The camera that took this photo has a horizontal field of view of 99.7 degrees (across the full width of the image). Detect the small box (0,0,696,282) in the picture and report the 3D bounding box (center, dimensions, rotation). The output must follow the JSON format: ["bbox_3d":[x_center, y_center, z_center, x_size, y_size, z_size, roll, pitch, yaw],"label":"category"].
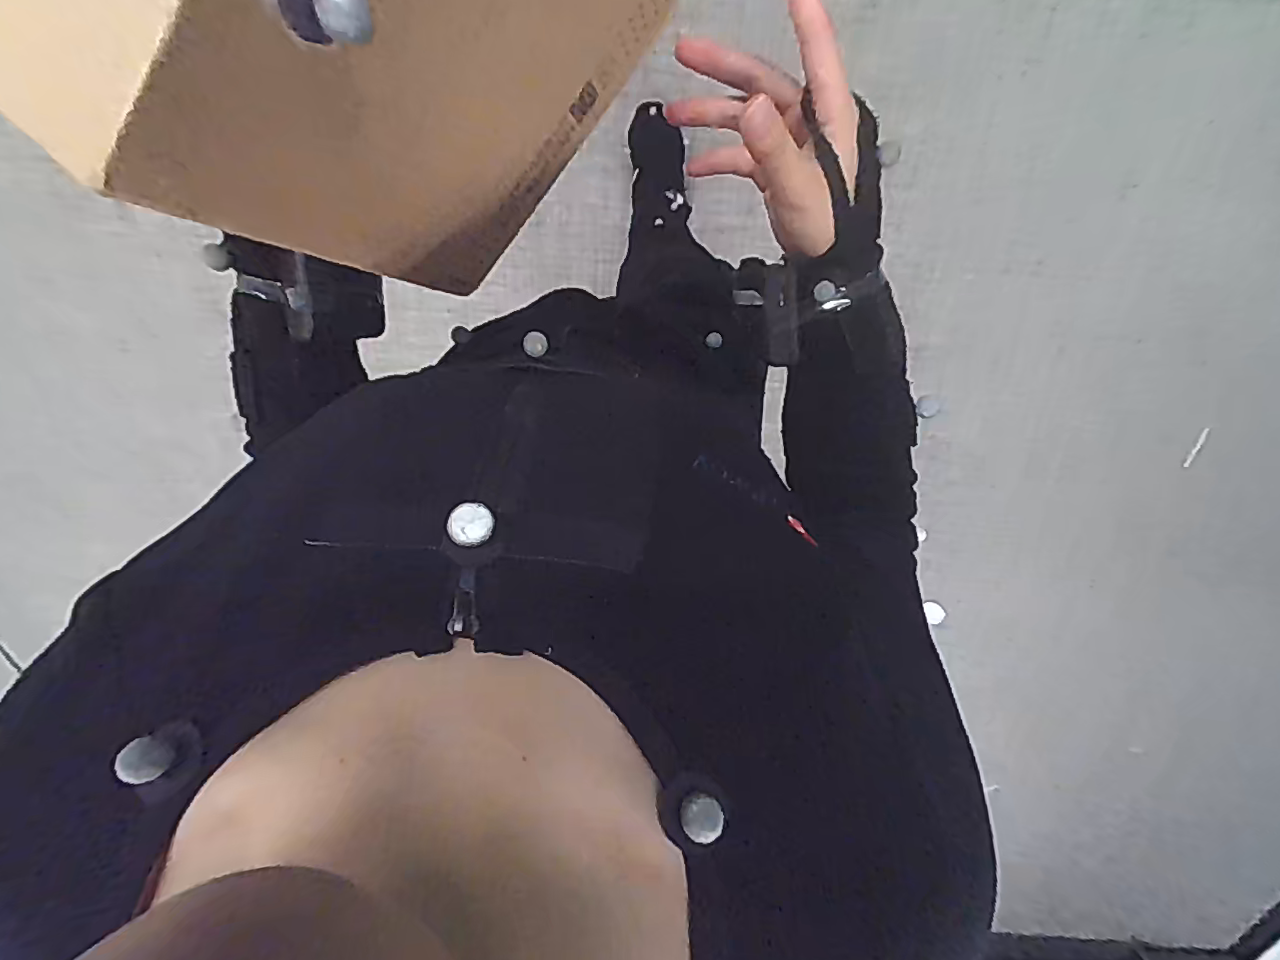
[{"bbox_3d":[-0.100,-0.194,0.186,0.179,0.176,0.168,43,106,1],"label":"small box"}]
